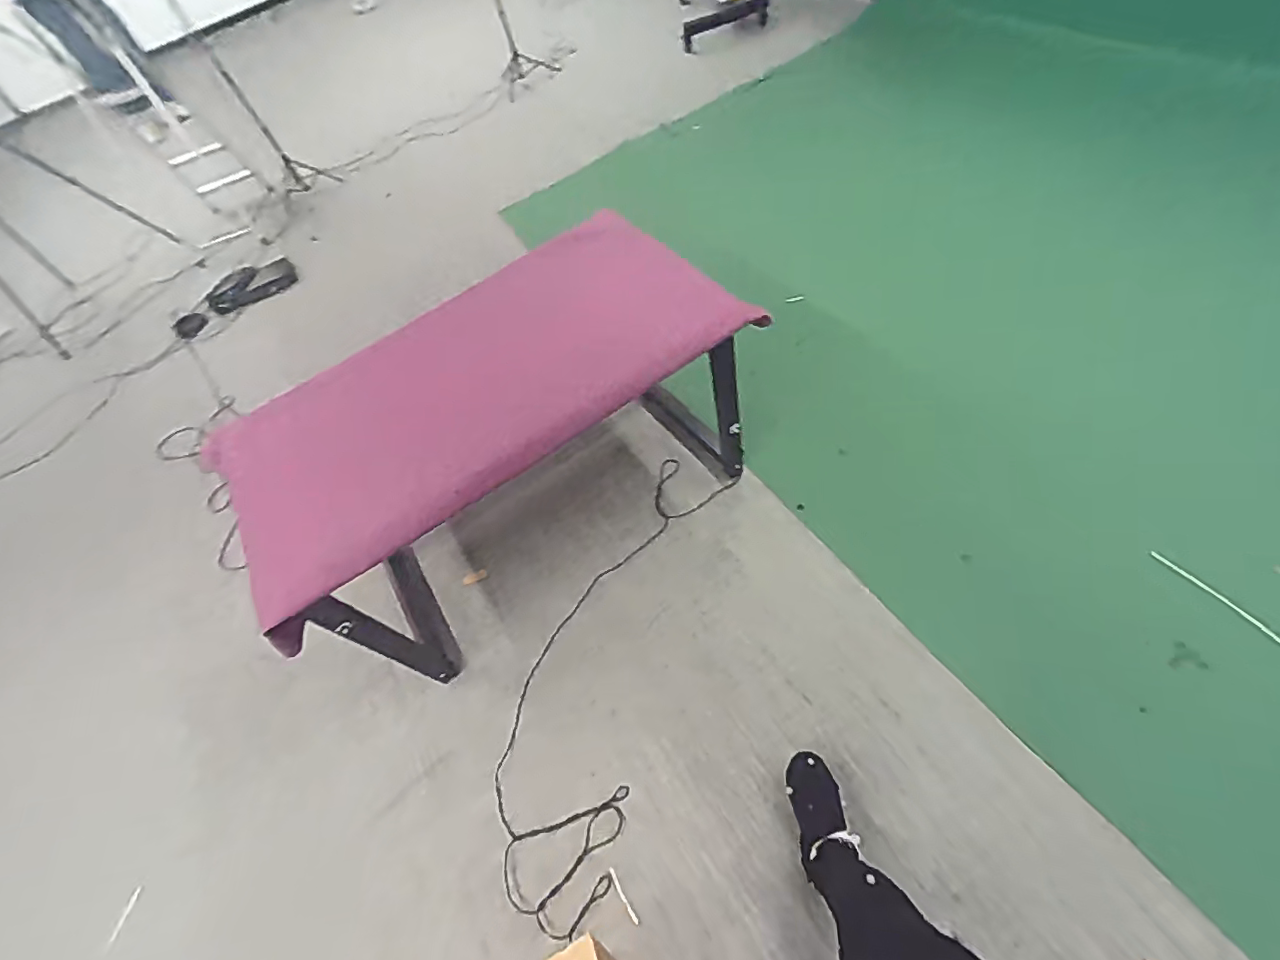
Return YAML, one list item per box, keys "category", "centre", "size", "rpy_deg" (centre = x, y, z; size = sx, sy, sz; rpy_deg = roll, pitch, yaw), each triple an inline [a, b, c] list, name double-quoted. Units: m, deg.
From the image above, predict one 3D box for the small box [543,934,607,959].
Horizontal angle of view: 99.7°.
- category: "small box"
  centre: [-0.087, 0.707, 0.643]
  size: [0.168, 0.176, 0.179]
  rpy_deg: [-26, 36, -11]
